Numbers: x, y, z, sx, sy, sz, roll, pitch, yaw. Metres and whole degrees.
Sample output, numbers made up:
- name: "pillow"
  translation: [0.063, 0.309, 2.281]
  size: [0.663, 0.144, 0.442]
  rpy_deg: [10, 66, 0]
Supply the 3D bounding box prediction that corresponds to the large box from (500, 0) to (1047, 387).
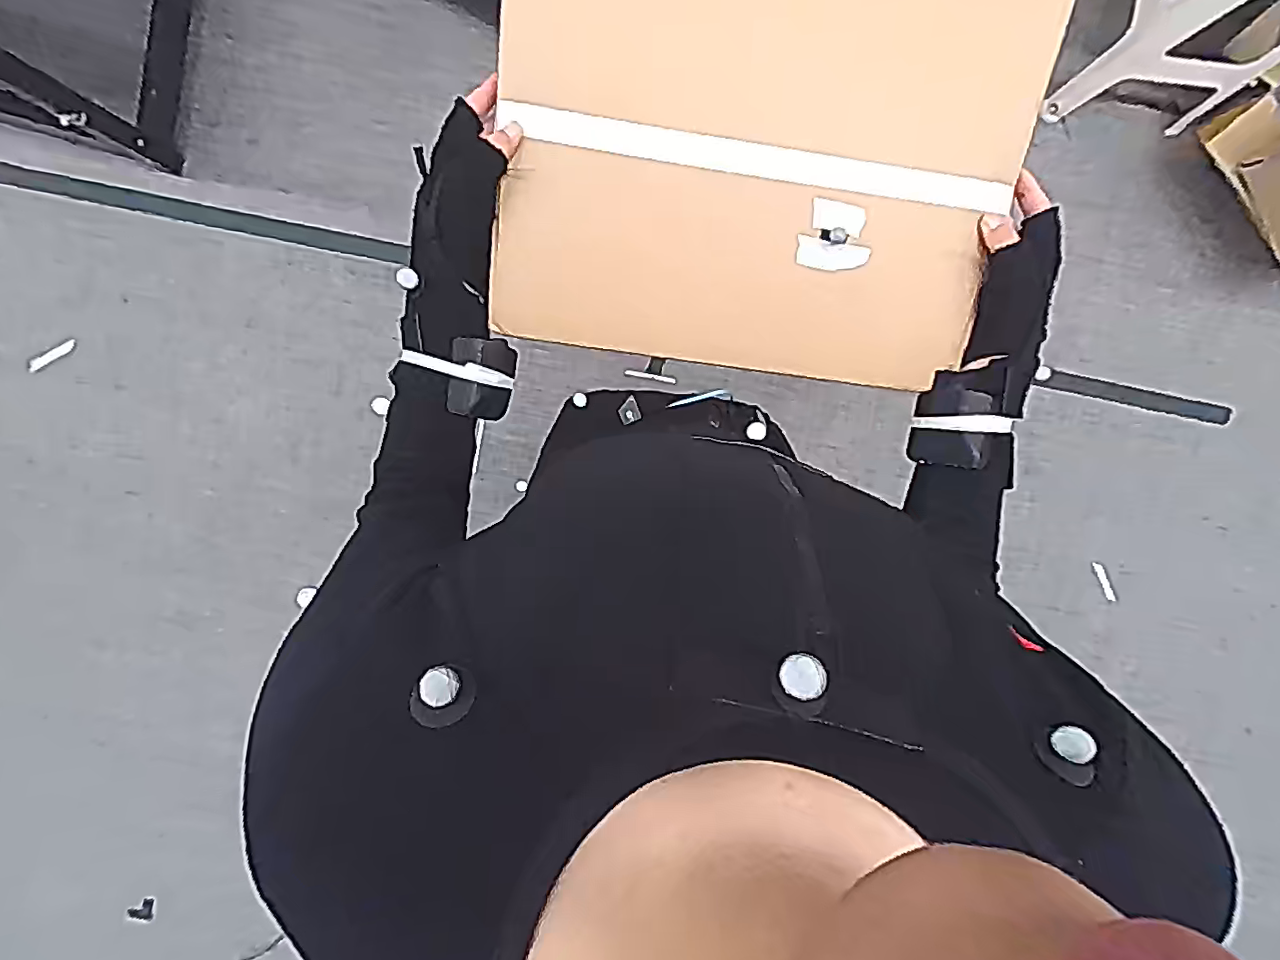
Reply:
- name: "large box"
  translation: [0.083, -0.295, 0.572]
  size: [0.408, 0.320, 0.320]
  rpy_deg: [6, 109, -6]
